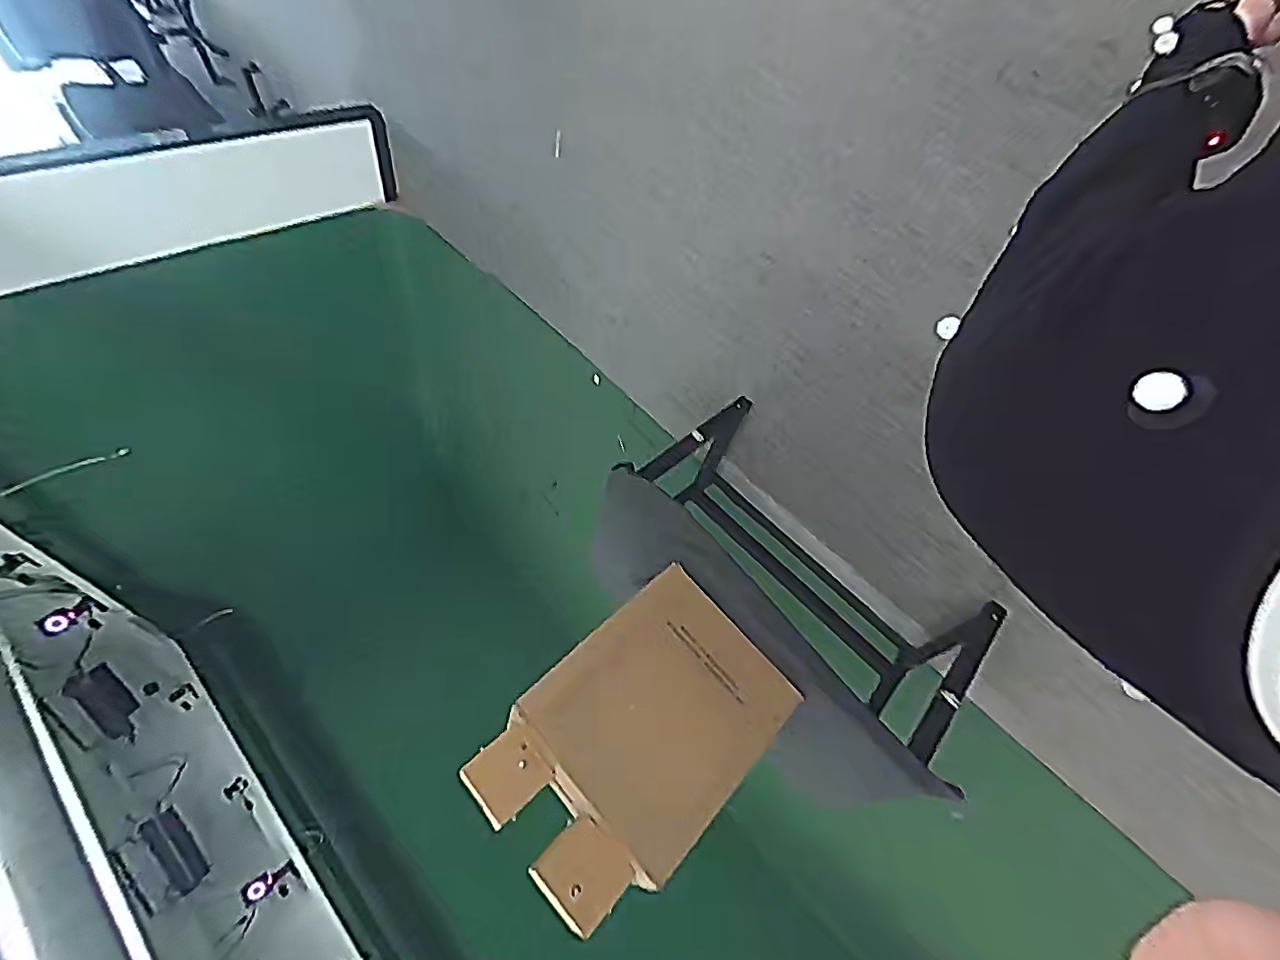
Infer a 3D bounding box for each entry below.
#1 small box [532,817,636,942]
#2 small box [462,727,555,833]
[{"bbox_3d":[-0.136,0.961,1.315,0.179,0.176,0.168,46,144,14],"label":"small box"},{"bbox_3d":[-0.339,0.772,1.395,0.168,0.176,0.179,47,145,14],"label":"small box"}]
